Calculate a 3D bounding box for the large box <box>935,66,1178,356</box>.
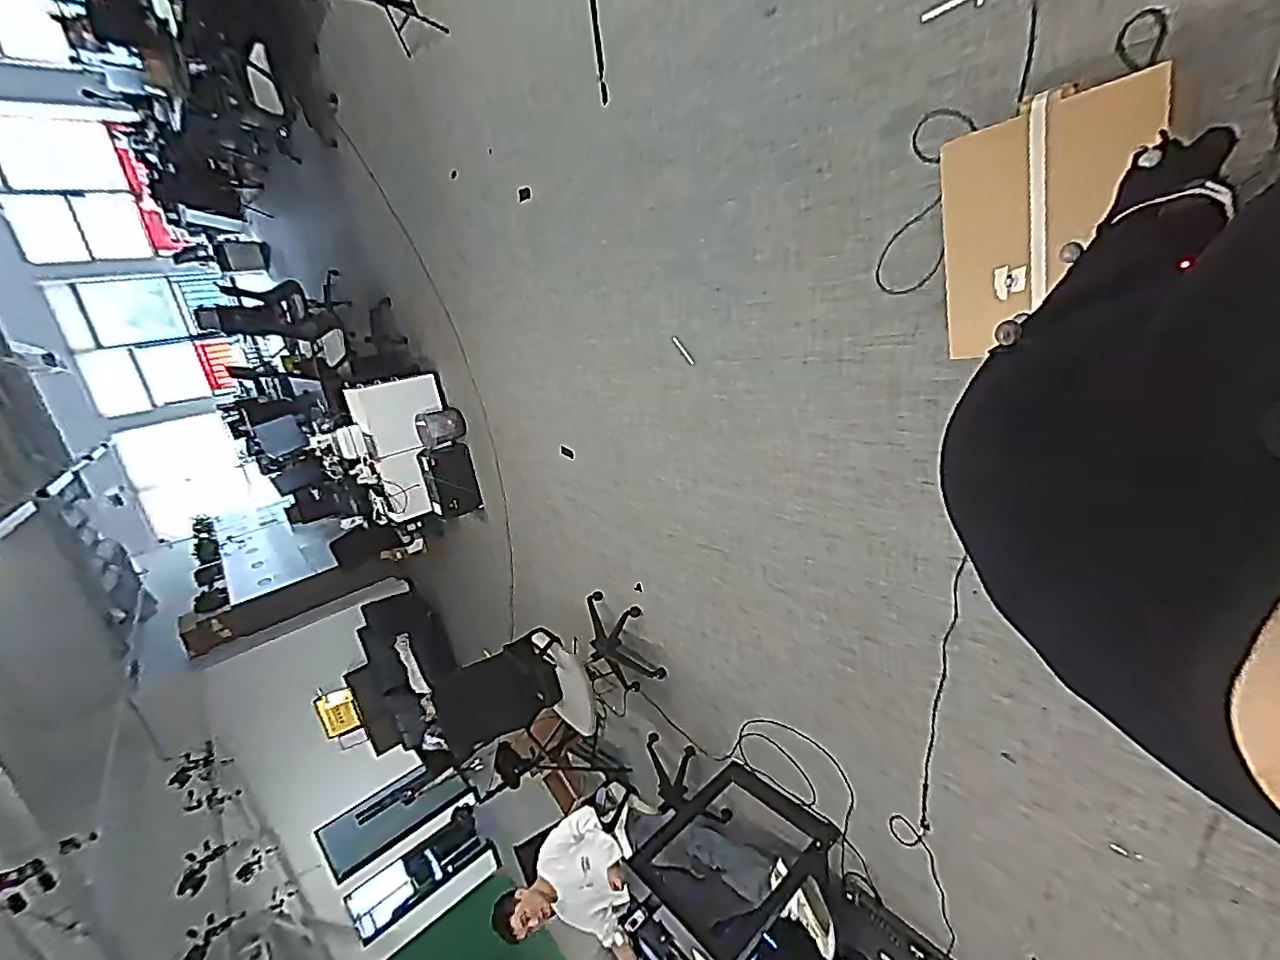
[{"bbox_3d":[0.807,-0.486,1.045,0.320,0.320,0.408,6,116,49],"label":"large box"}]
